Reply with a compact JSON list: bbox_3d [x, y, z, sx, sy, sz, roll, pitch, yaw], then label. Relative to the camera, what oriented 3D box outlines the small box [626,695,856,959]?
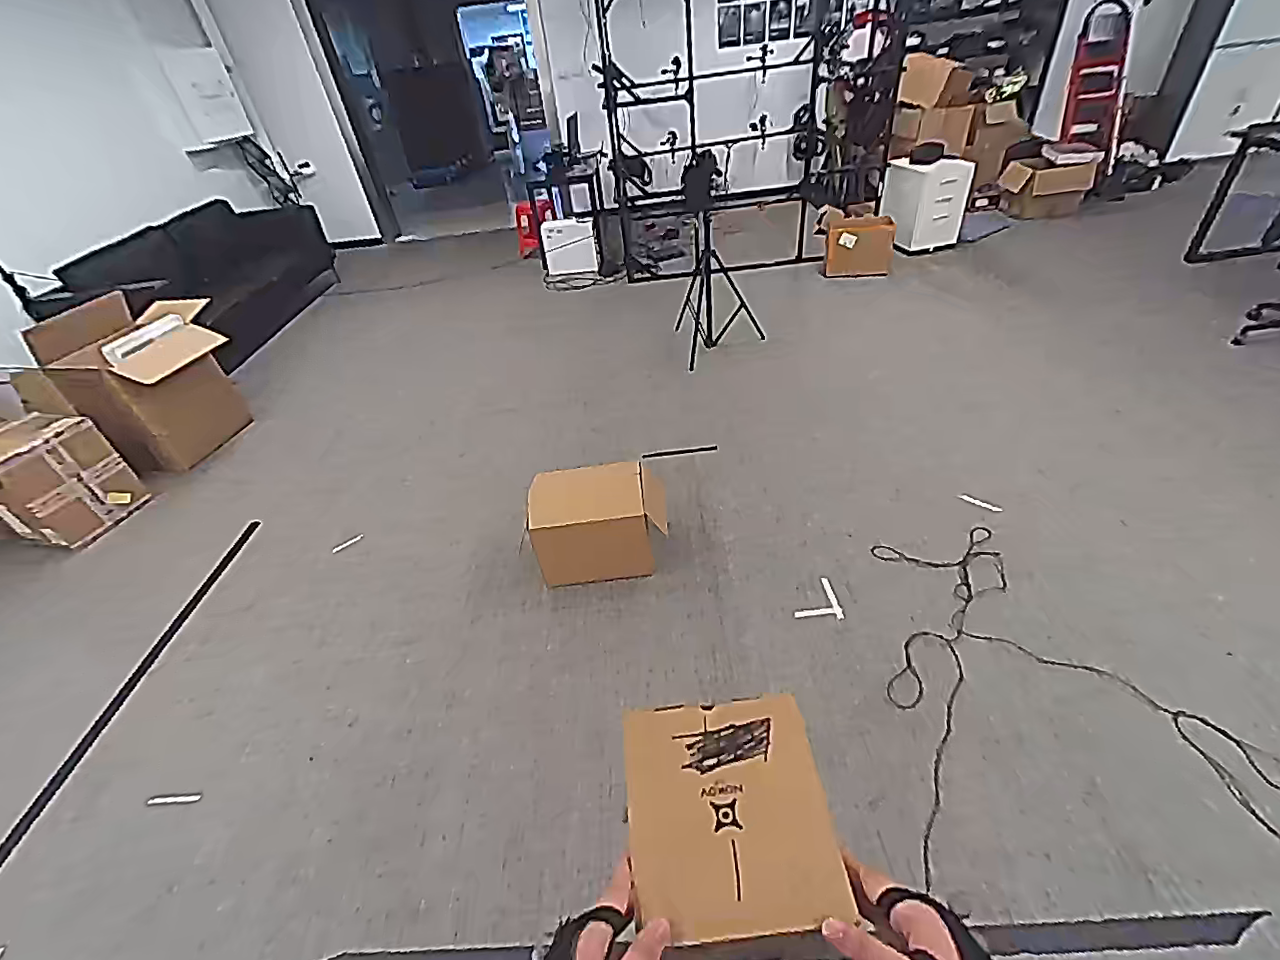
[{"bbox_3d":[0.078,0.332,0.510,0.168,0.176,0.179,-7,42,0],"label":"small box"}]
